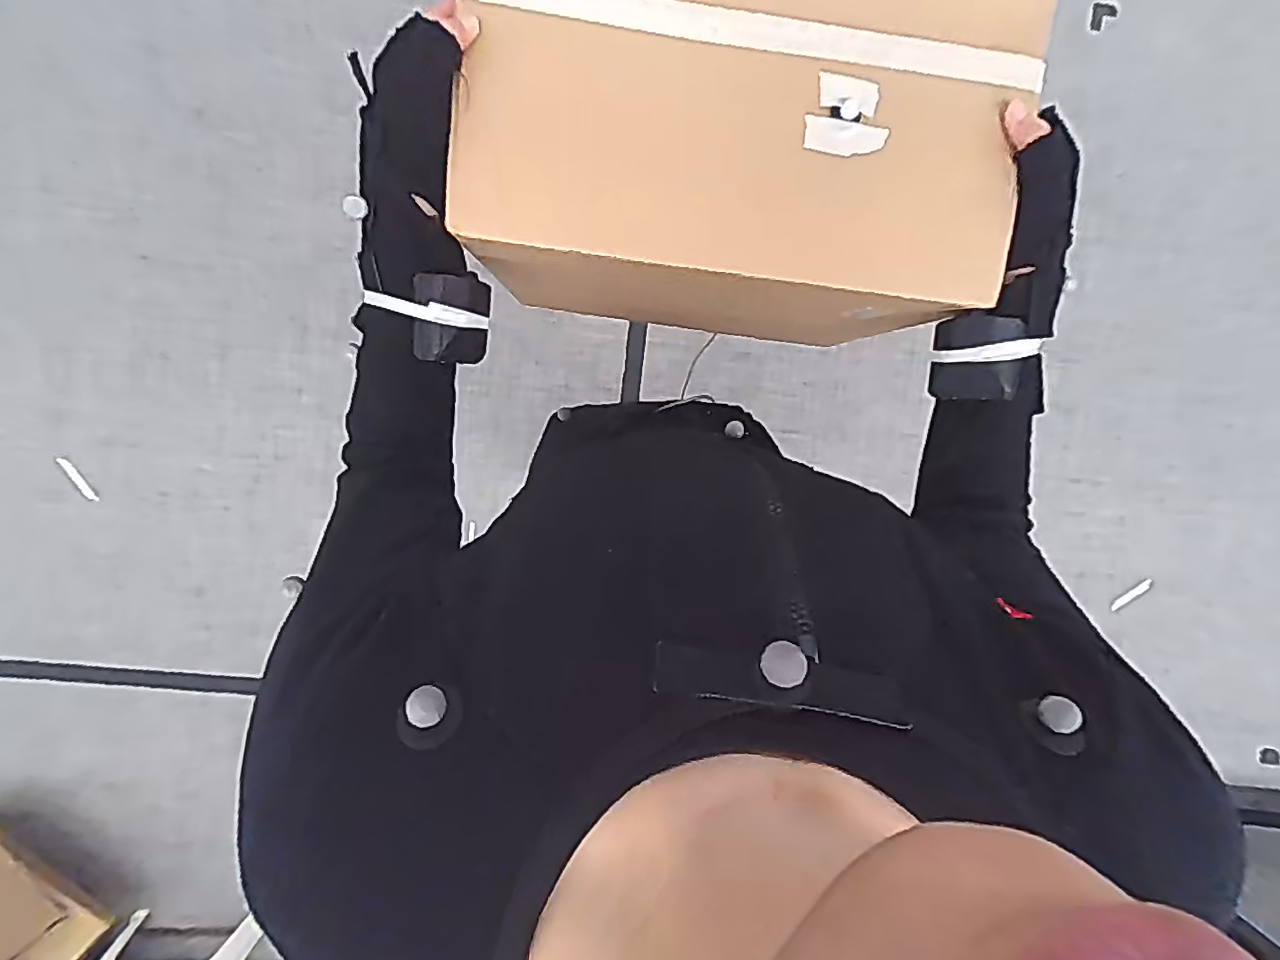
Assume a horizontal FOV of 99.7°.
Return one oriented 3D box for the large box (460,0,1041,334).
[{"bbox_3d":[0.071,-0.335,0.525,0.408,0.320,0.320,6,100,-5],"label":"large box"}]
